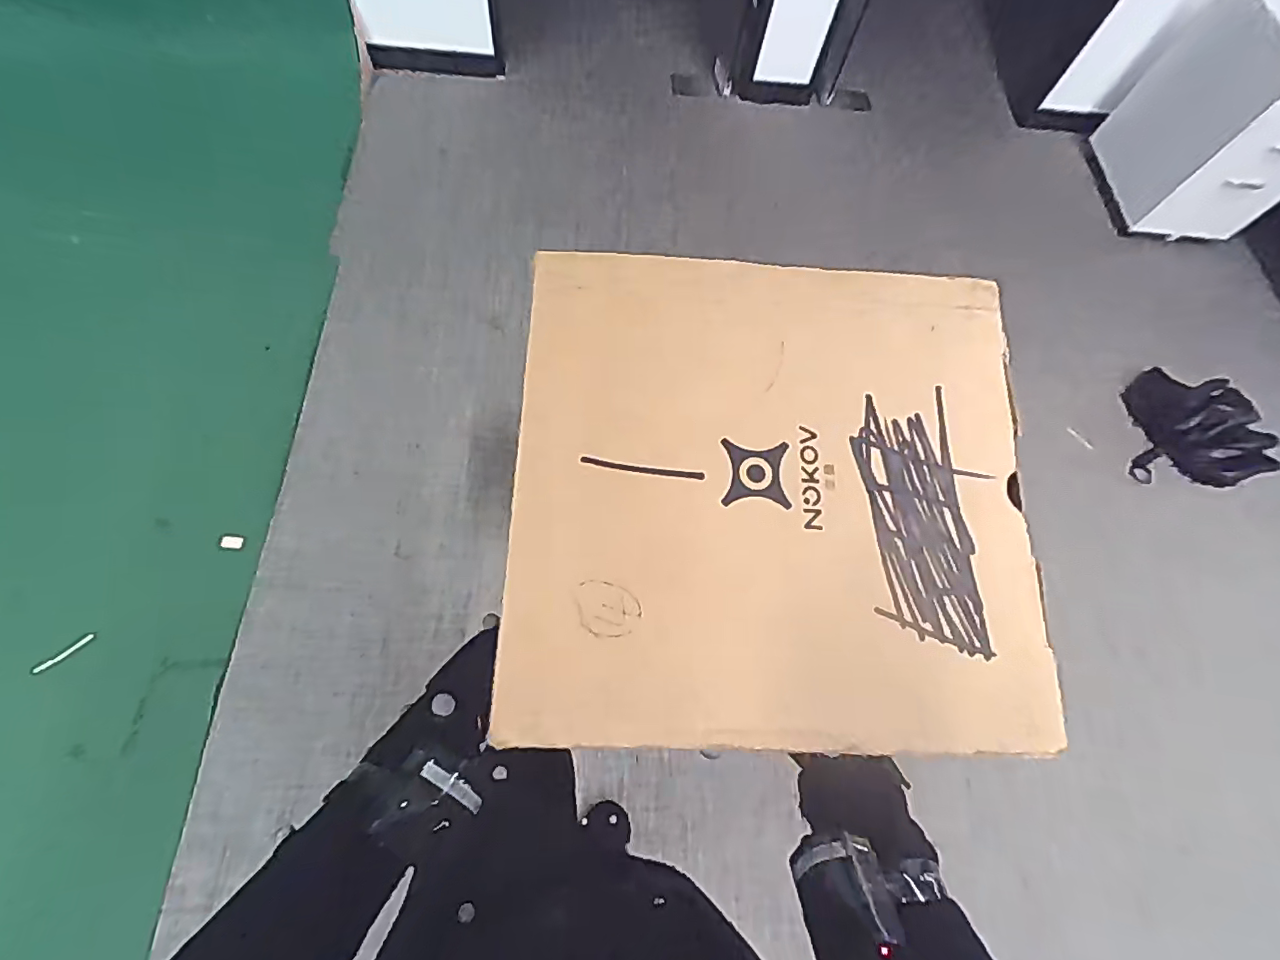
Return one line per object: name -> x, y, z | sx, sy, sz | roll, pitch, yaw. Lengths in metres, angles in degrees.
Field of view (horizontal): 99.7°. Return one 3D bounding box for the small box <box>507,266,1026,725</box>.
small box -> 0.040, 0.021, 0.274 | 0.179, 0.176, 0.168 | 3, 73, -4
